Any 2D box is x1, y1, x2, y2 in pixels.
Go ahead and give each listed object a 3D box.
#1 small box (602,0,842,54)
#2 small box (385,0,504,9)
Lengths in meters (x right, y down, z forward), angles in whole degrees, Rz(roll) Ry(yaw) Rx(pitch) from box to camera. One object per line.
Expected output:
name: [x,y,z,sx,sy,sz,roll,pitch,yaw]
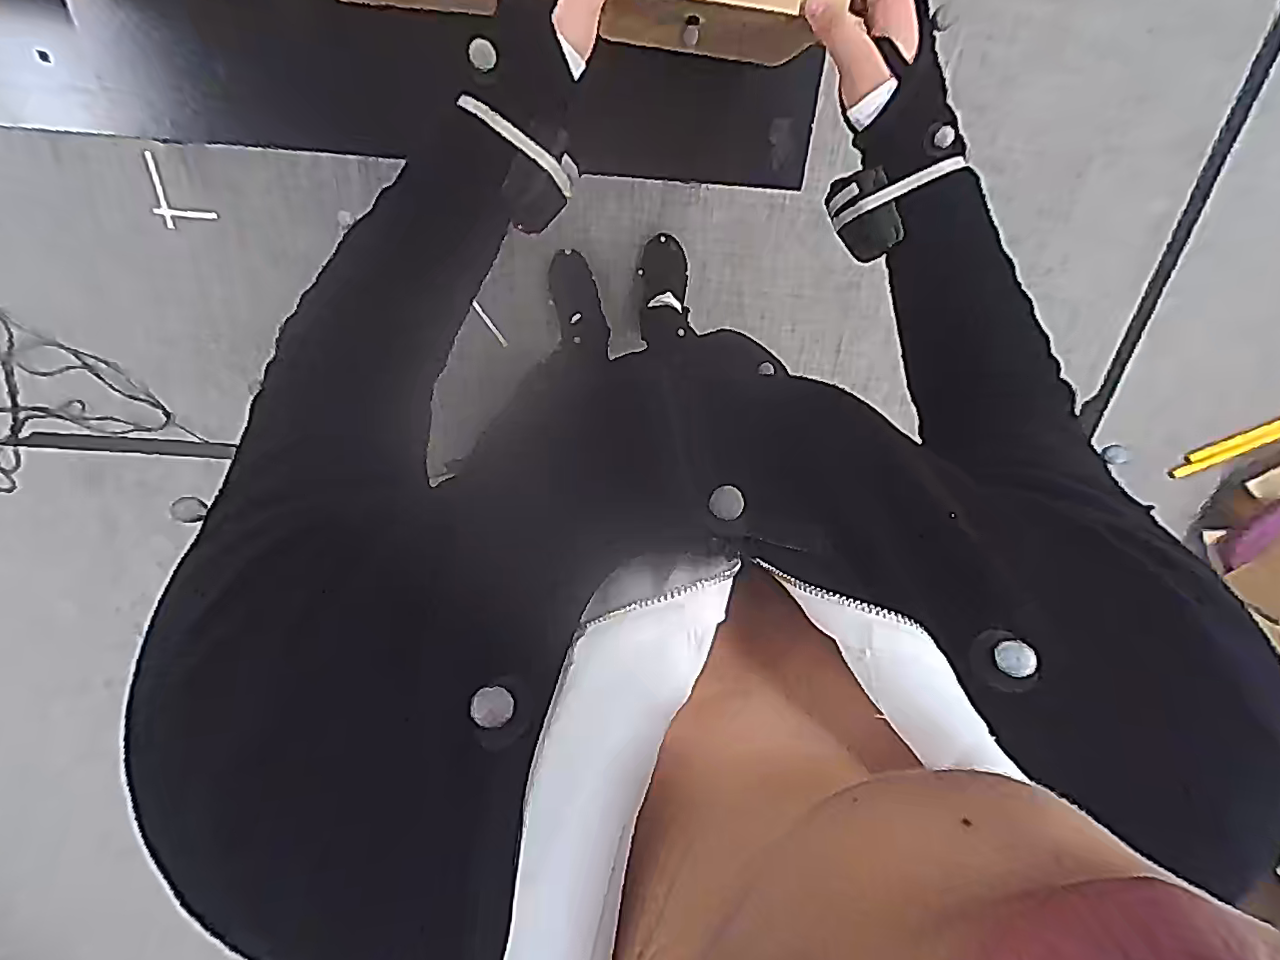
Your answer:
small box: [0.062,-0.446,0.407,0.179,0.176,0.168,4,119,-6]
small box: [-0.193,-0.495,0.416,0.179,0.176,0.168,2,117,-4]
